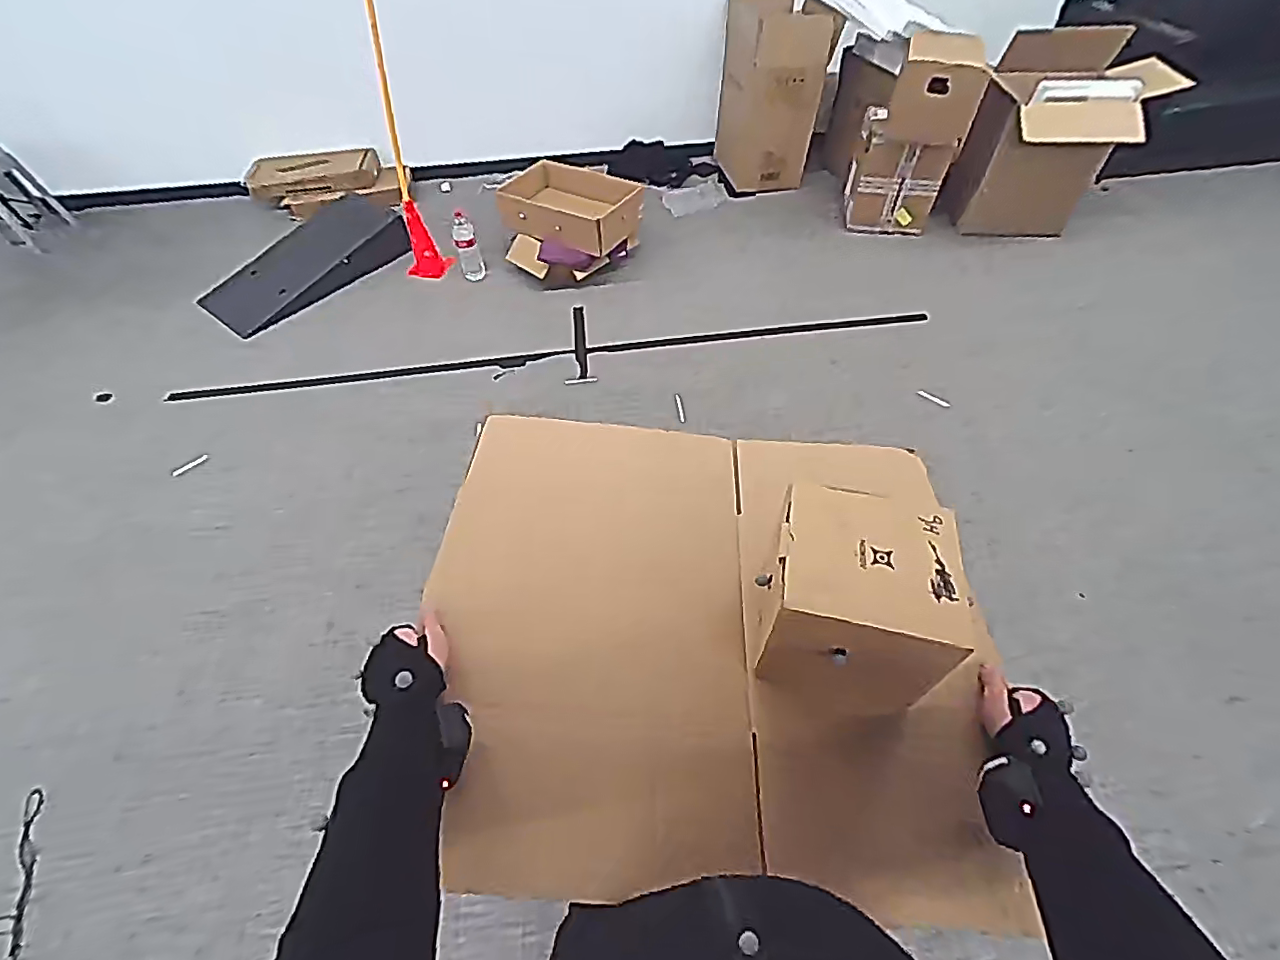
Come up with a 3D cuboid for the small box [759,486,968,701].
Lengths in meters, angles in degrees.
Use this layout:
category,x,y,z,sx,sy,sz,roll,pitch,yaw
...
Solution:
category,x,y,z,sx,sy,sz,roll,pitch,yaw
small box,0.239,0.133,0.619,0.179,0.176,0.168,10,51,10
